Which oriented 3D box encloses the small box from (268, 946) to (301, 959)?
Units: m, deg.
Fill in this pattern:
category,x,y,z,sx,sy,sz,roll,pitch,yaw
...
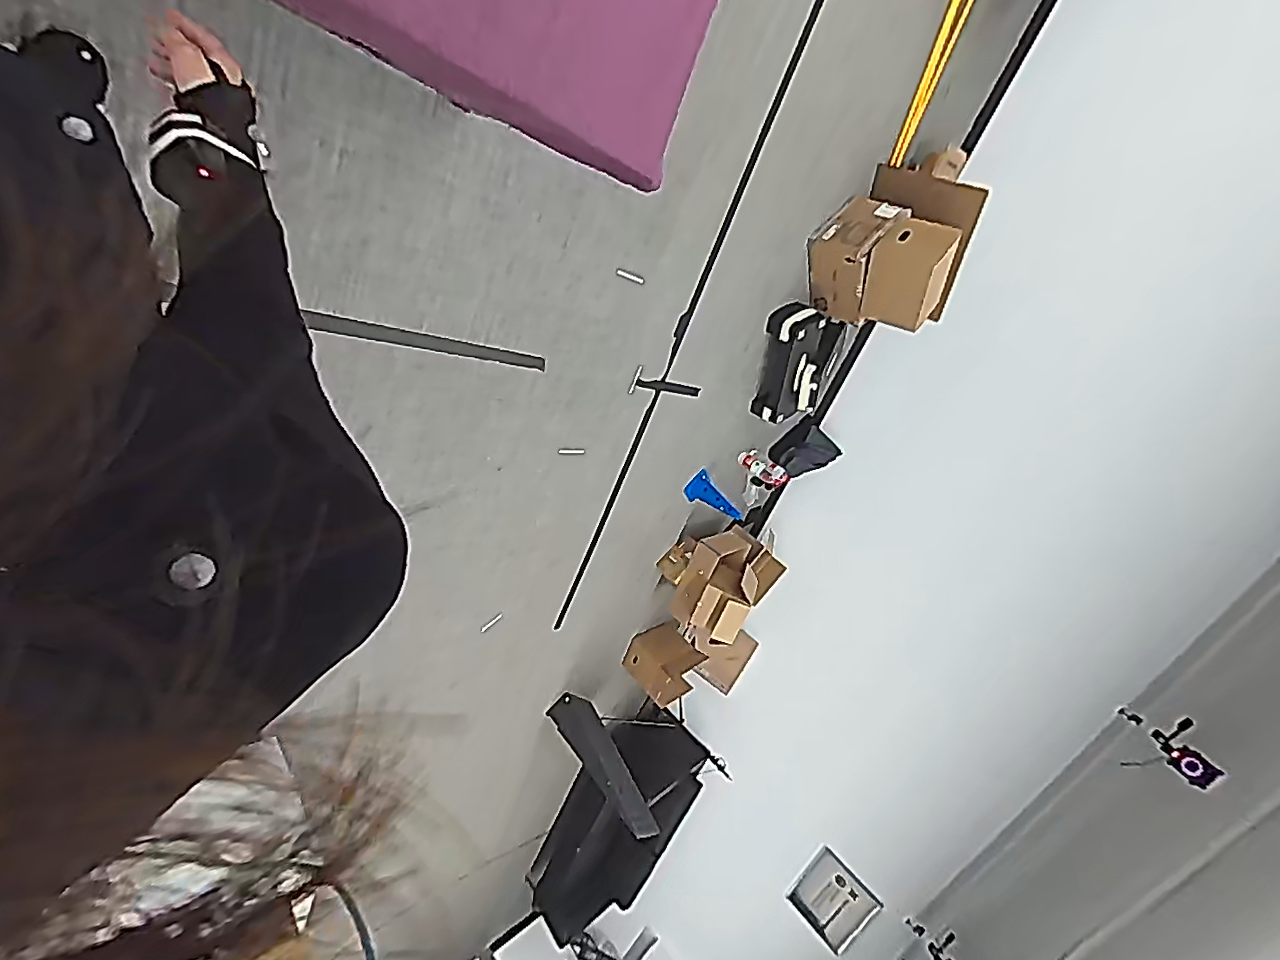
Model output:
category,x,y,z,sx,sy,sz,roll,pitch,yaw
small box,-1.091,1.541,1.590,0.168,0.176,0.179,1,122,-53
